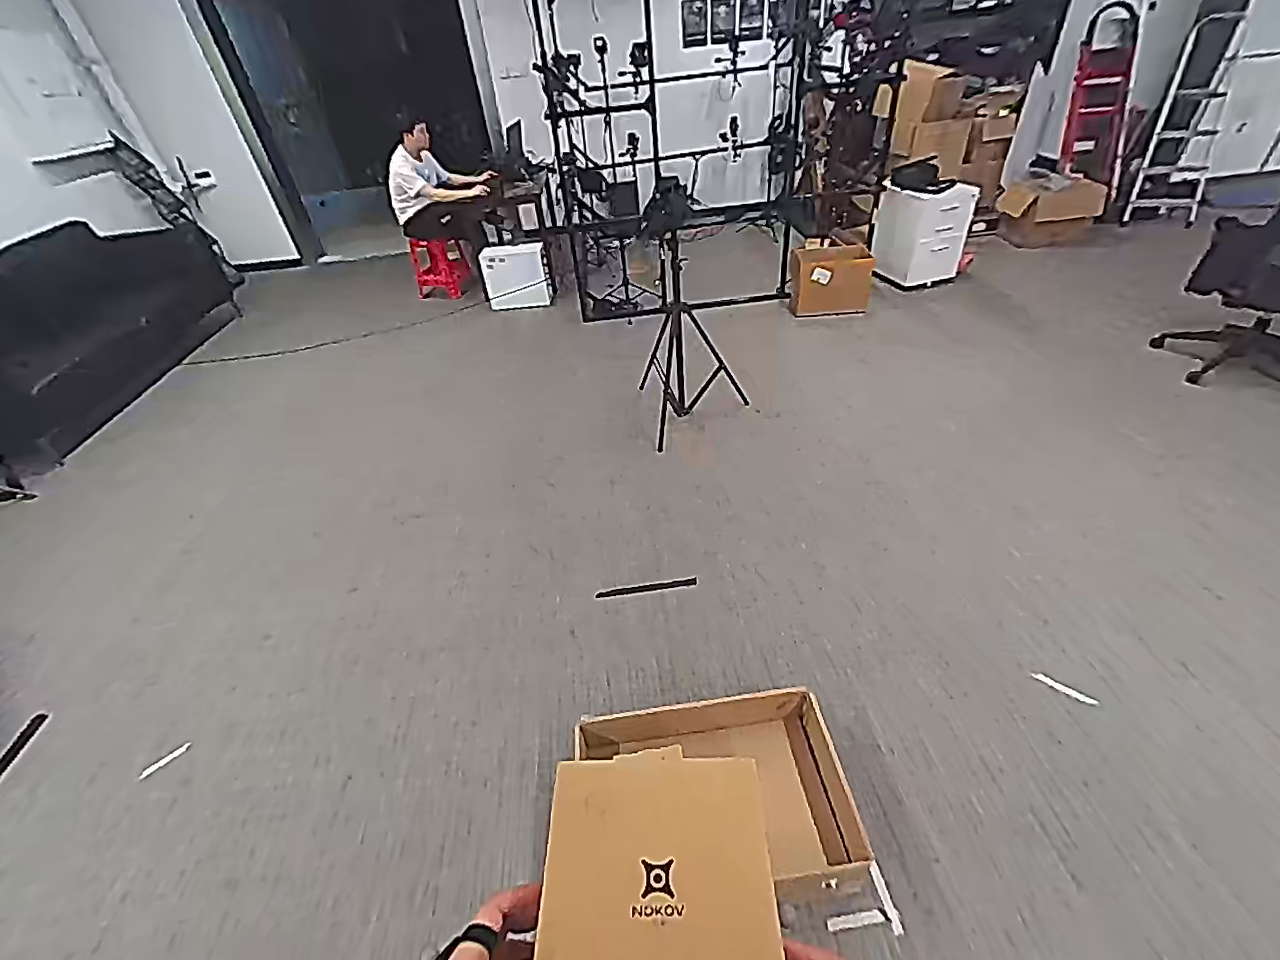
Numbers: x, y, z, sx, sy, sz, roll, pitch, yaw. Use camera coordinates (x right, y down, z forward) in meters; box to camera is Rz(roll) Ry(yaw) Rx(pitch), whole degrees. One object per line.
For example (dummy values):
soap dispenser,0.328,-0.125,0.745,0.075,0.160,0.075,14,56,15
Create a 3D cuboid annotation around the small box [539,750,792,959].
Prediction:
small box,0.020,0.342,0.432,0.168,0.176,0.179,-3,39,2
